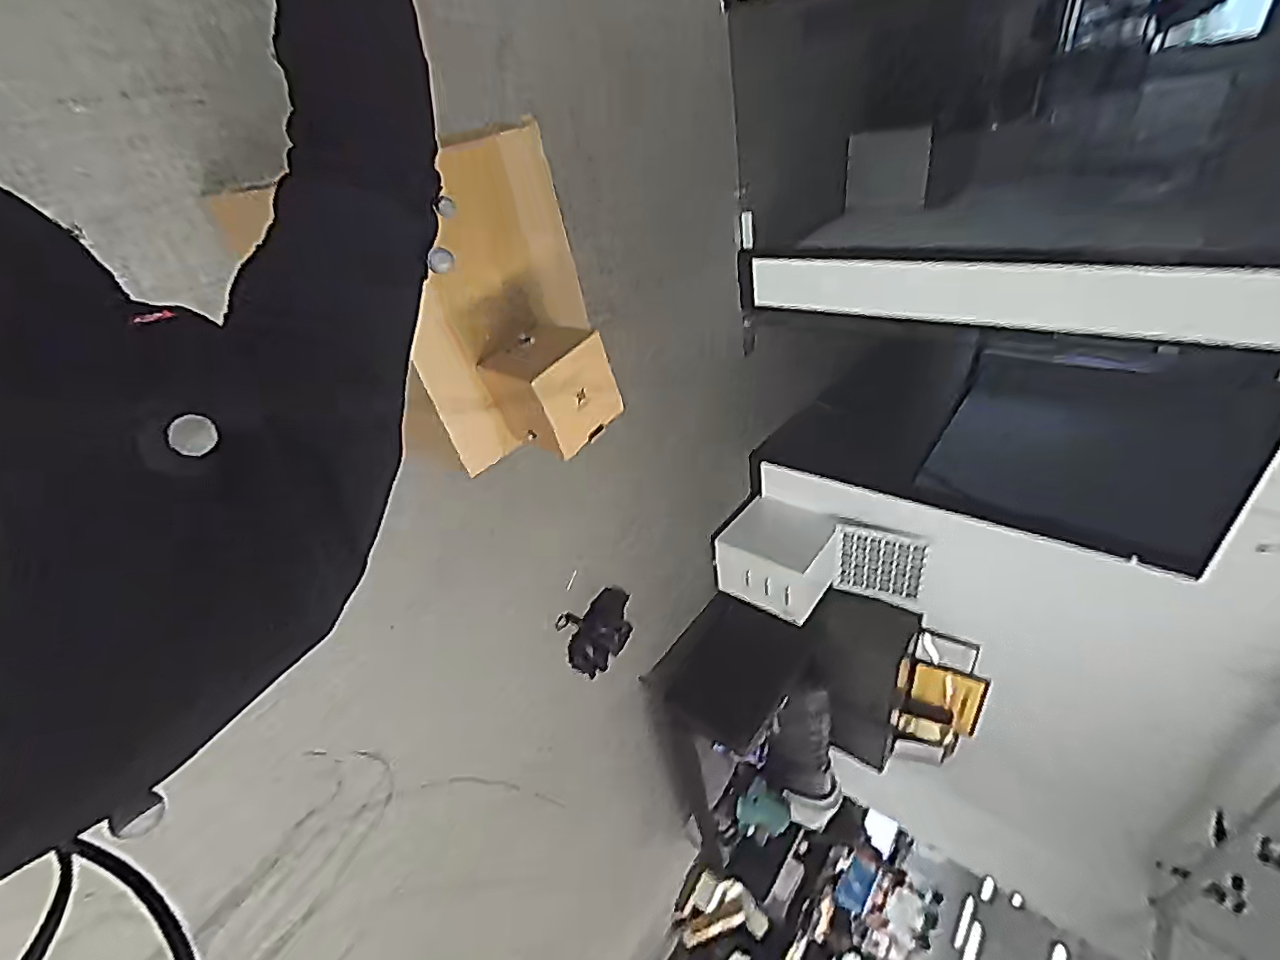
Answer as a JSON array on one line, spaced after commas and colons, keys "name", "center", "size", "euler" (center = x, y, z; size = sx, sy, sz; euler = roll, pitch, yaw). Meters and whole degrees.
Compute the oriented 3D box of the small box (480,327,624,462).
[{"name": "small box", "center": [-0.162, -0.167, 1.012], "size": [0.168, 0.176, 0.179], "euler": [-45, 135, -26]}]
